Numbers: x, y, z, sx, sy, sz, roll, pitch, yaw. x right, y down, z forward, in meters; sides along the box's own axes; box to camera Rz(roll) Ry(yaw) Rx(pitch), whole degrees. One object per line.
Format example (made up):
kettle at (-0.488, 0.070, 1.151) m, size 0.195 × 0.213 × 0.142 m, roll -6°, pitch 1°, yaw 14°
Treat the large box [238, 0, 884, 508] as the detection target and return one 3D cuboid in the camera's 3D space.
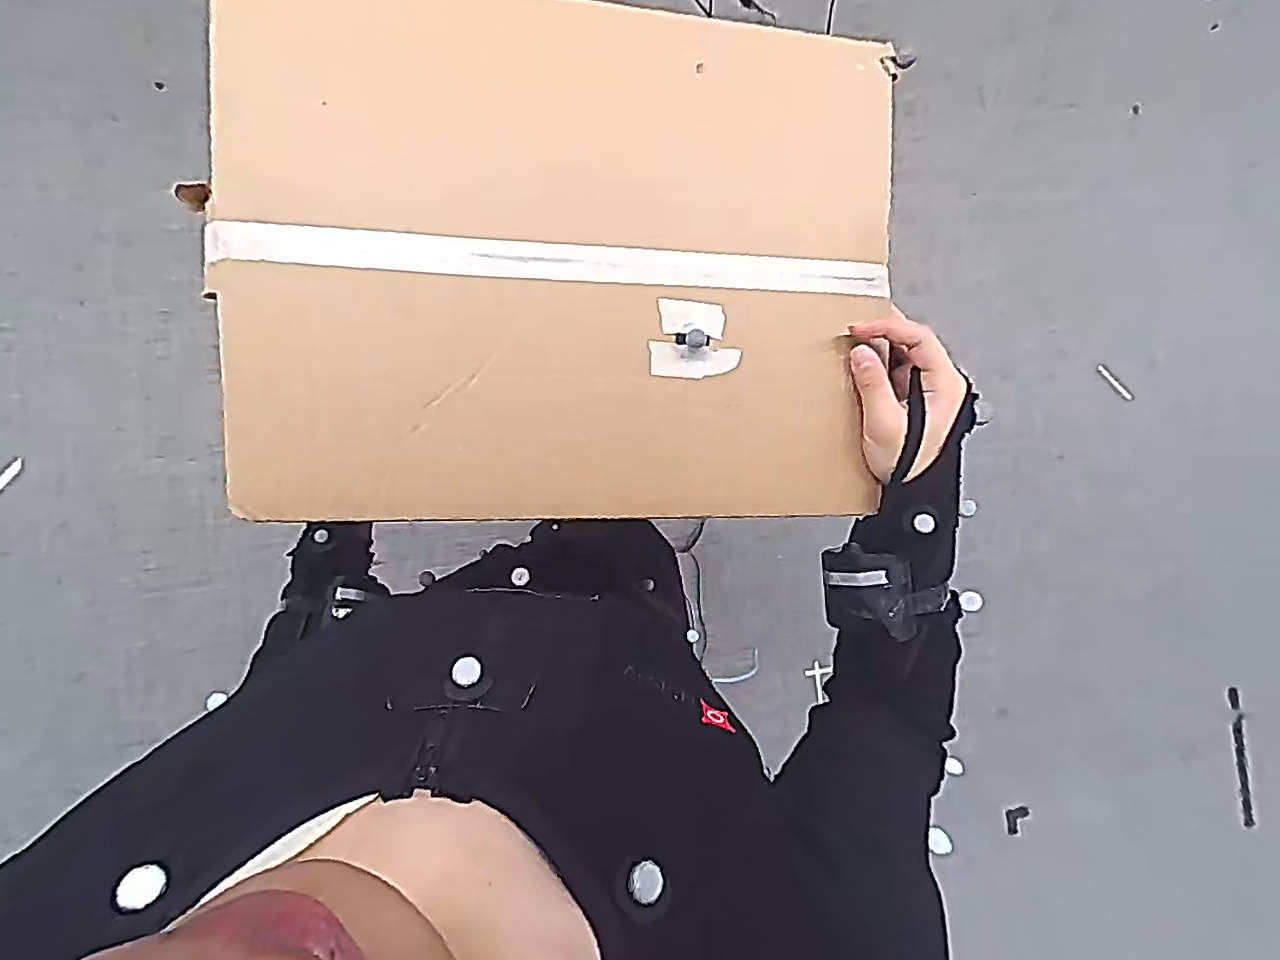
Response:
large box at (-0.057, -0.148, 0.487) m, size 0.408 × 0.320 × 0.320 m, roll 0°, pitch 94°, yaw -11°
